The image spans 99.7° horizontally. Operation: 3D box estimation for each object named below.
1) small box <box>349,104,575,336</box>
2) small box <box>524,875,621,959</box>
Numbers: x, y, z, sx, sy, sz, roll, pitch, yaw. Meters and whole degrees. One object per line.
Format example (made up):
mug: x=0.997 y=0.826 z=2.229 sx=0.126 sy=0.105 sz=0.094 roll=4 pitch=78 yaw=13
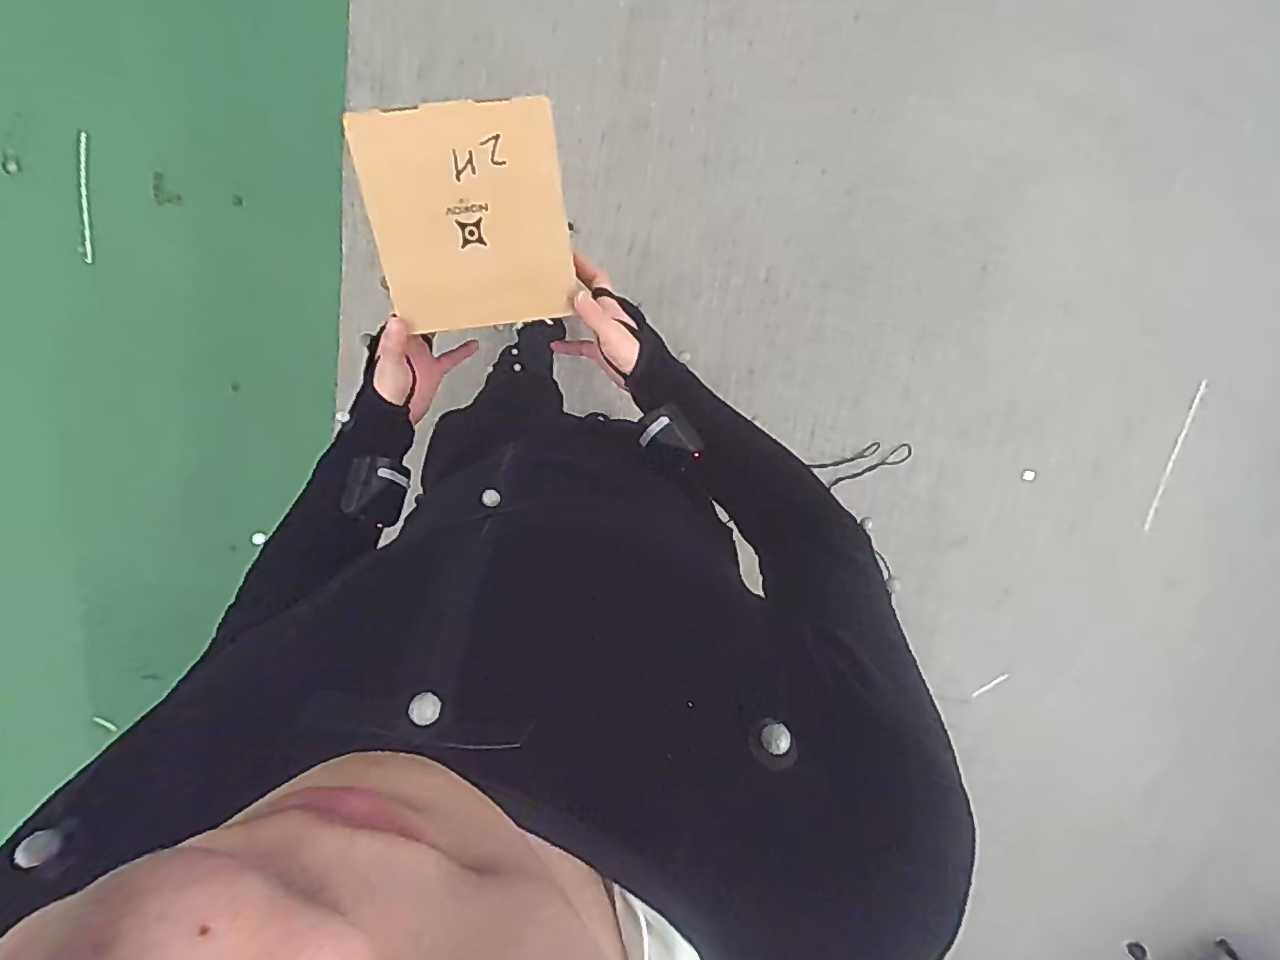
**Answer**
small box: x=-0.156 y=-0.250 z=0.543 sx=0.168 sy=0.176 sz=0.179 roll=-7 pitch=112 yaw=-5
small box: x=-0.123 y=0.889 z=1.013 sx=0.168 sy=0.176 sz=0.179 roll=3 pitch=104 yaw=-3
